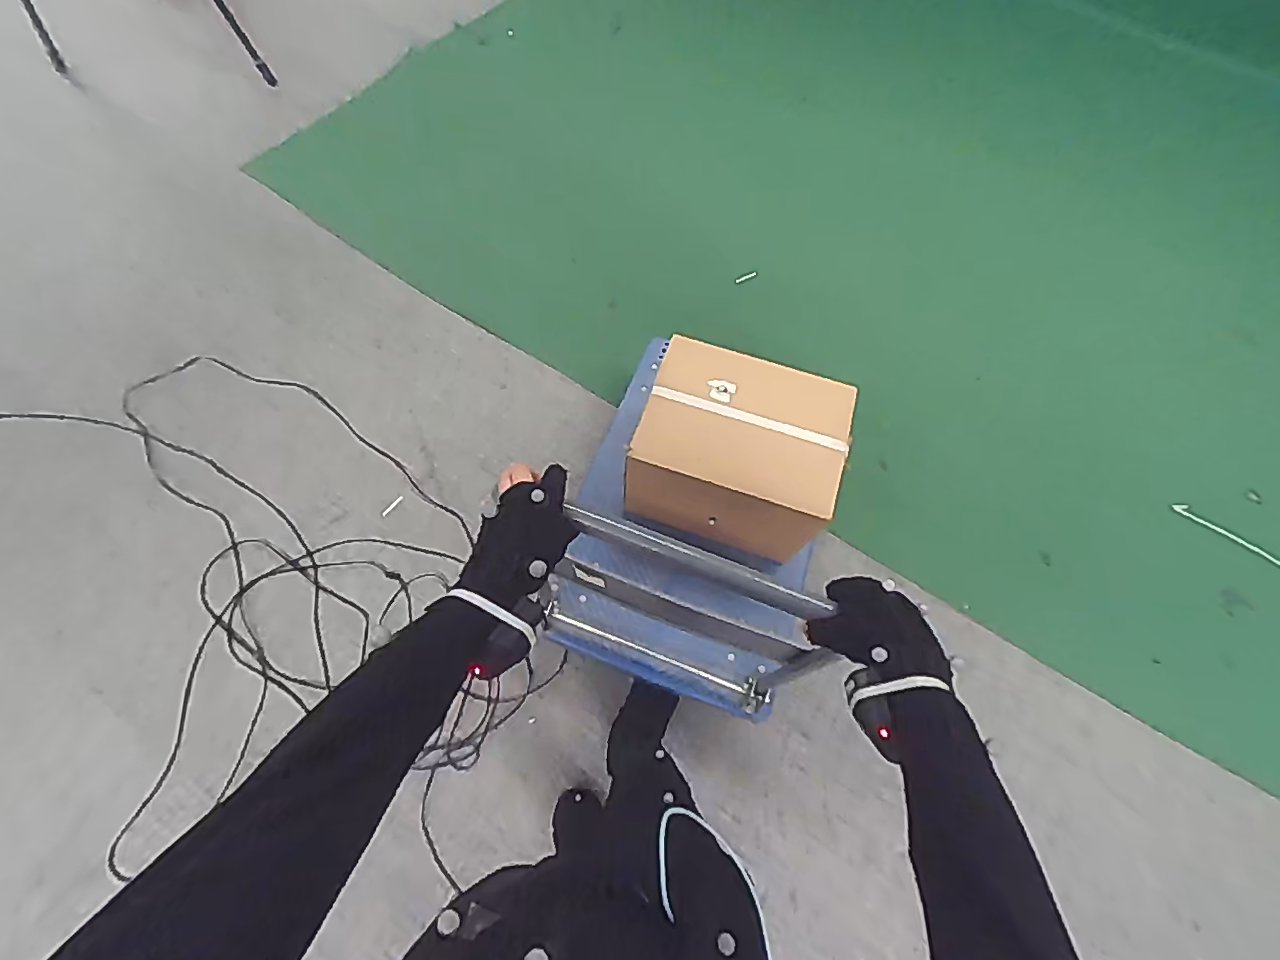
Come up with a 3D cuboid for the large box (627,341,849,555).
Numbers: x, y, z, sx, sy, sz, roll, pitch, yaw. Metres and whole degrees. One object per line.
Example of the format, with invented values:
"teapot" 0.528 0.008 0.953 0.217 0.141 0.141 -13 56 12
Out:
"large box" 0.207 -0.058 1.233 0.408 0.320 0.320 17 66 6
